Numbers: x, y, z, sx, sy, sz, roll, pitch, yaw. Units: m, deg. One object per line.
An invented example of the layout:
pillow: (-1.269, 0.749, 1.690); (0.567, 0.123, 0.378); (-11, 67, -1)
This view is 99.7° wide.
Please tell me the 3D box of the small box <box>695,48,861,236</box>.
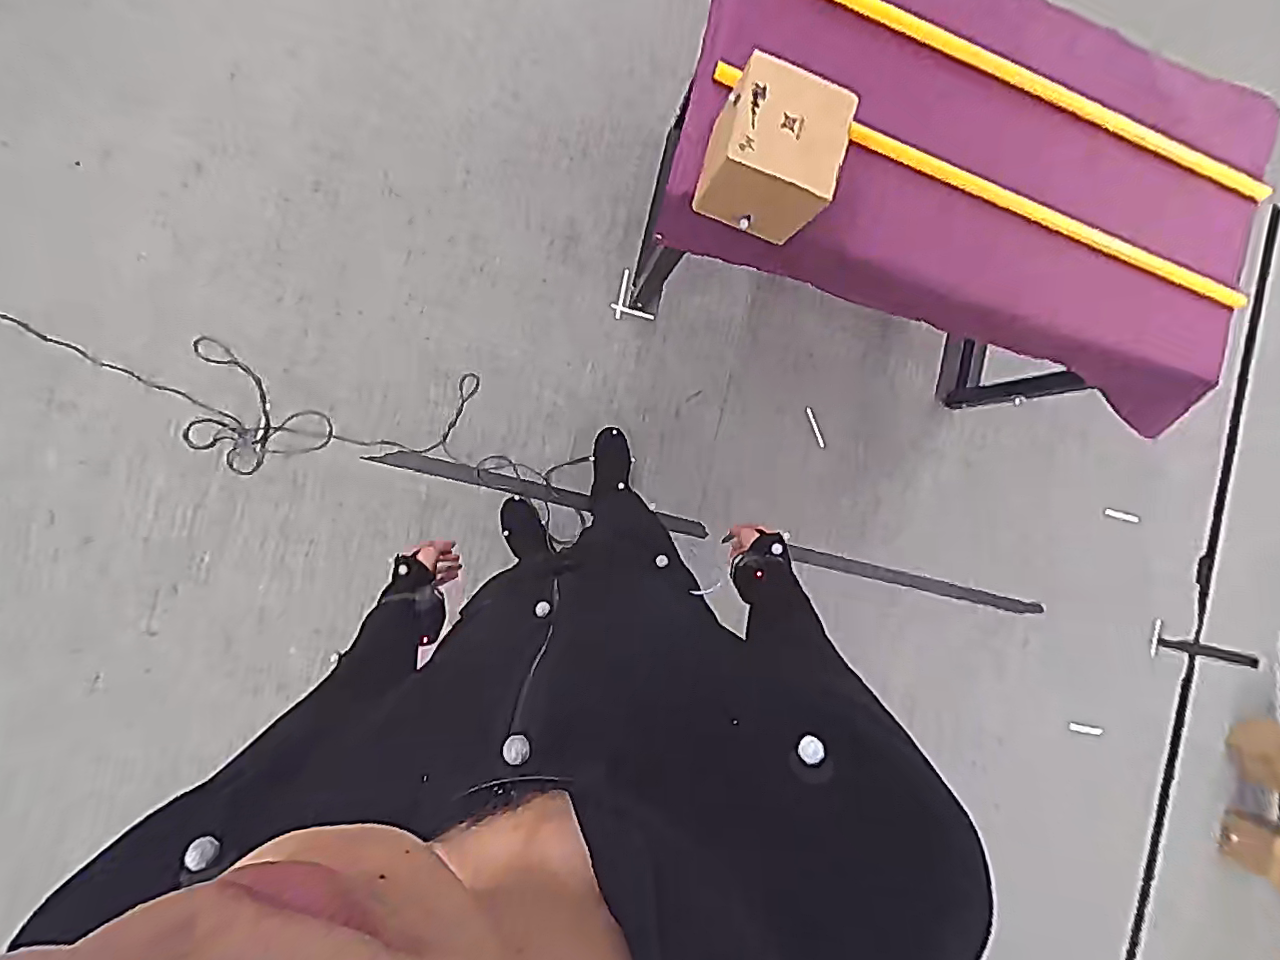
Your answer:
small box: (0.210, -0.518, 0.862); (0.179, 0.176, 0.168); (16, 88, -12)
